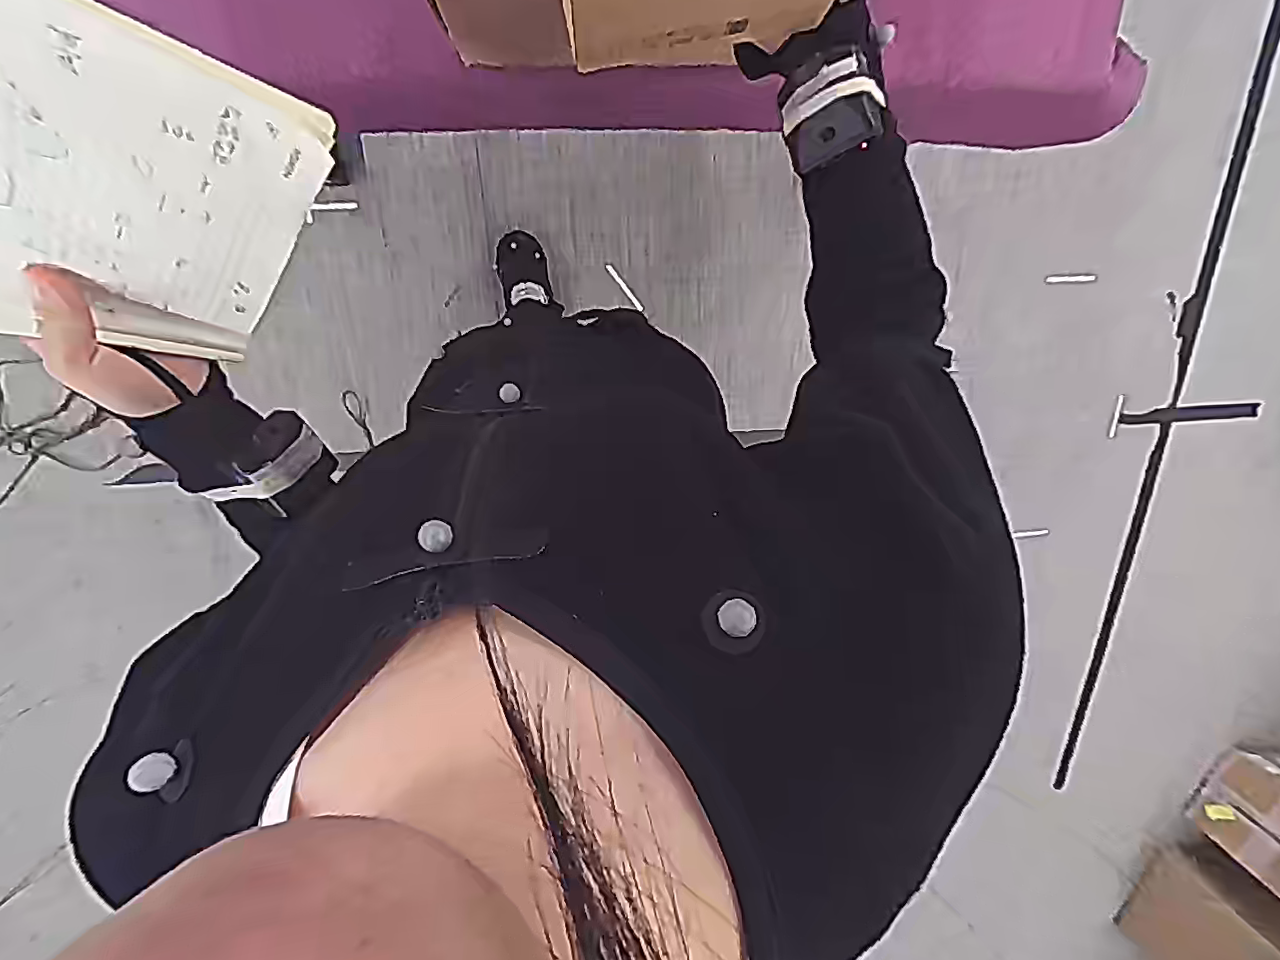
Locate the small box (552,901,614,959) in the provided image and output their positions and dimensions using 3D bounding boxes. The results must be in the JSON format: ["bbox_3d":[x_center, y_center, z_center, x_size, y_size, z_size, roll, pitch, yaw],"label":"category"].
[{"bbox_3d":[-0.165,1.372,1.578,0.168,0.176,0.179,-7,110,-6],"label":"small box"}]
